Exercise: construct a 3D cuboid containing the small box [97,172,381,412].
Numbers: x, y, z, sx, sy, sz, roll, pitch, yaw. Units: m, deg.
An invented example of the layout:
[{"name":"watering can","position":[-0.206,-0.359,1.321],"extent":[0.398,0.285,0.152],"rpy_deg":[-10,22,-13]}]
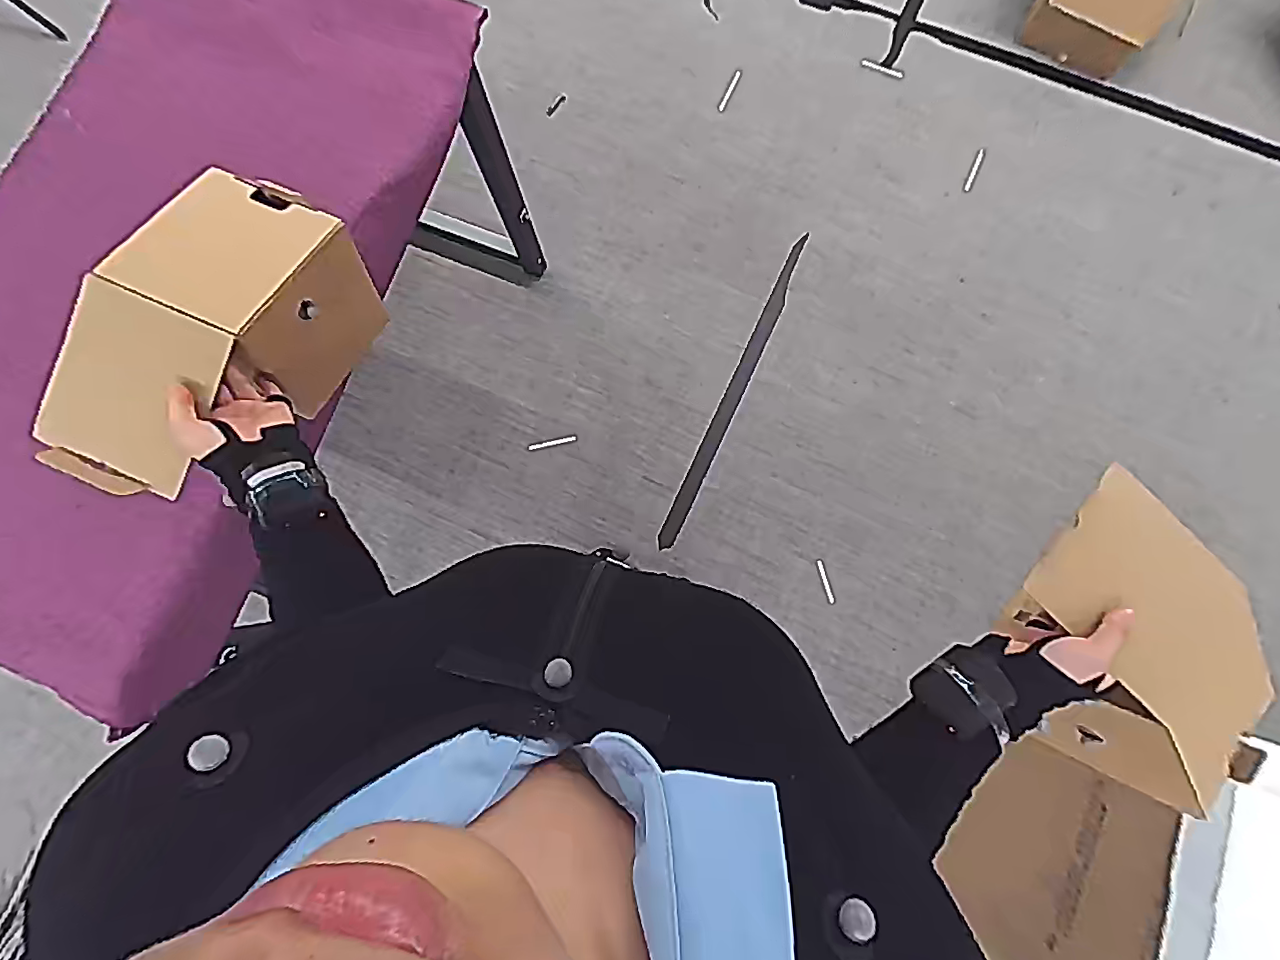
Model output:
[{"name":"small box","position":[-0.439,-0.207,0.634],"extent":[0.168,0.176,0.179],"rpy_deg":[22,67,3]}]
